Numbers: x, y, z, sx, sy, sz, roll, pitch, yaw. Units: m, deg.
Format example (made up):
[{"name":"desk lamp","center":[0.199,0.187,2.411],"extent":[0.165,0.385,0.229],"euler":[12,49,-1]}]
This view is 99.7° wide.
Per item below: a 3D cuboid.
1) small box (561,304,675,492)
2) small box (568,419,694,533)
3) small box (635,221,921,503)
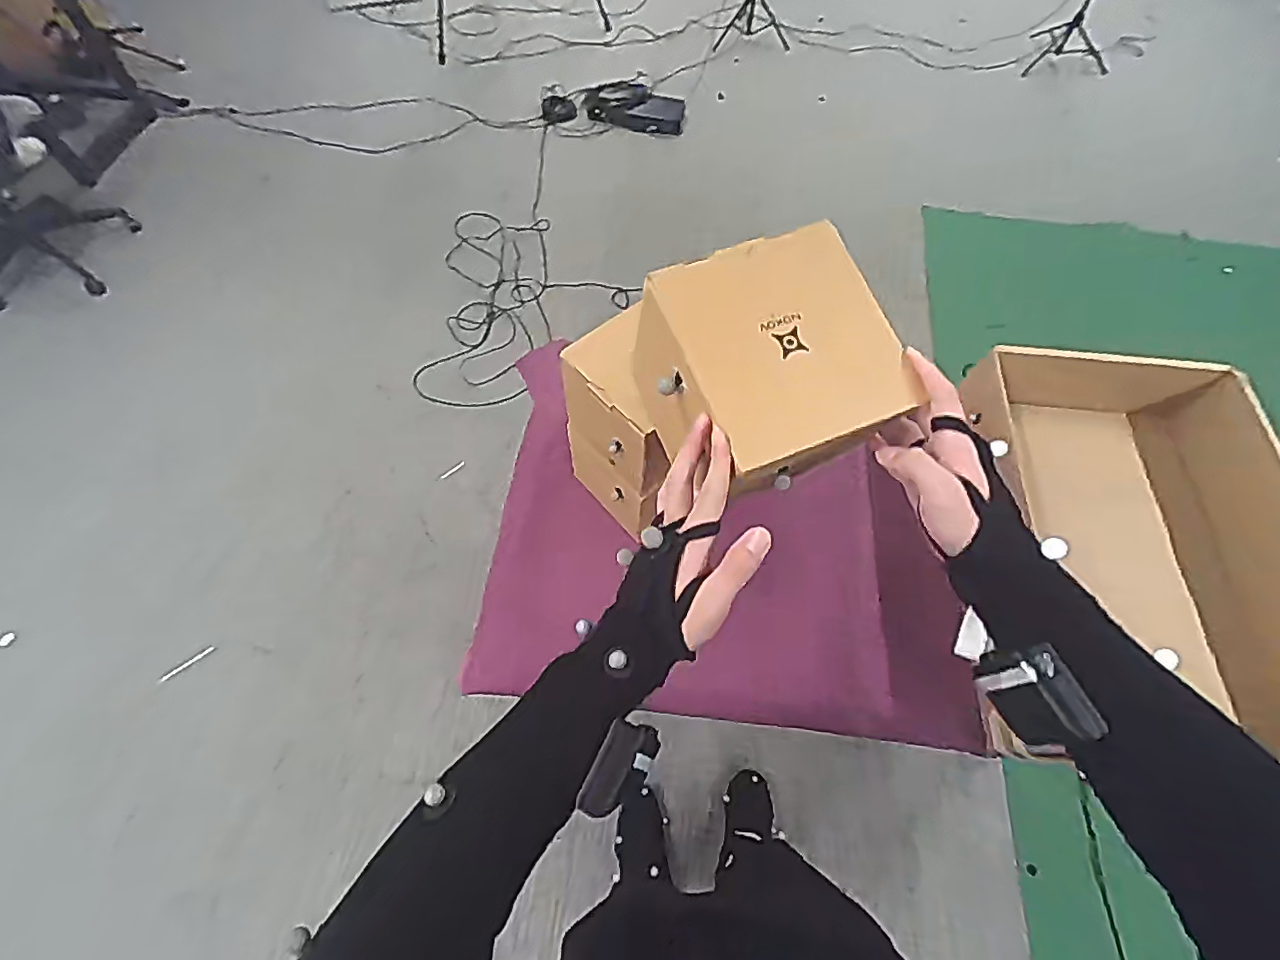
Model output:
[{"name":"small box","center":[0.014,-0.113,0.751],"extent":[0.179,0.176,0.168],"euler":[-37,70,-19]},{"name":"small box","center":[0.003,-0.034,0.893],"extent":[0.168,0.176,0.179],"euler":[-37,69,-20]},{"name":"small box","center":[0.104,-0.090,0.493],"extent":[0.168,0.176,0.179],"euler":[-21,77,-11]}]
